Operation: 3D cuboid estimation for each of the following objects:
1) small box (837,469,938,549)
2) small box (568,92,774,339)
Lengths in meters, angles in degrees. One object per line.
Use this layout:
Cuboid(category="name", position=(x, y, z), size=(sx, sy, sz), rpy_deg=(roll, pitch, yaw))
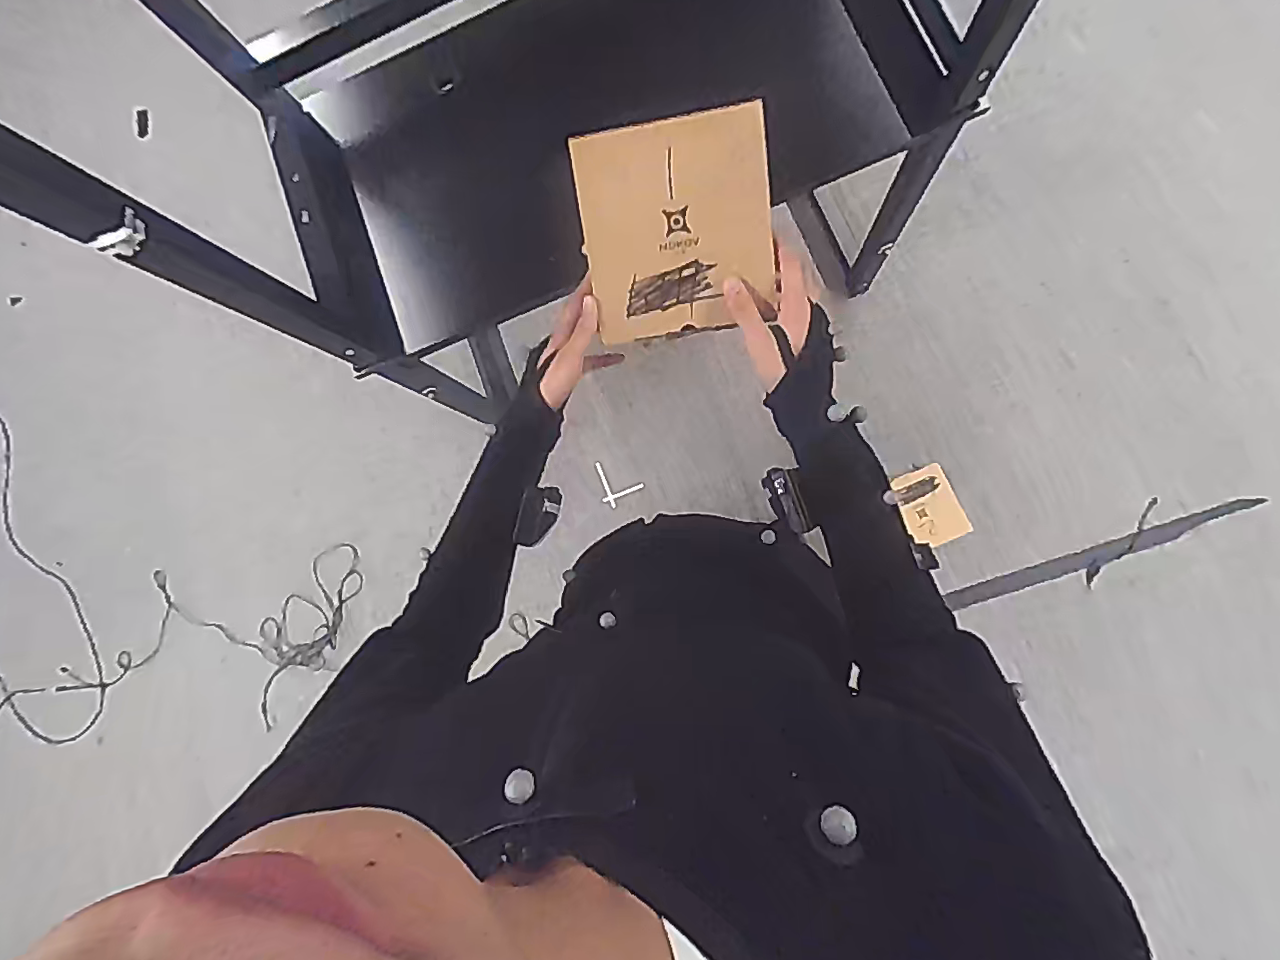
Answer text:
Cuboid(category="small box", position=(0.662, 0.080, 1.470), size=(0.179, 0.176, 0.168), rpy_deg=(-22, 82, 6))
Cuboid(category="small box", position=(0.037, -0.246, 0.540), size=(0.168, 0.176, 0.179), rpy_deg=(-6, 108, 7))
